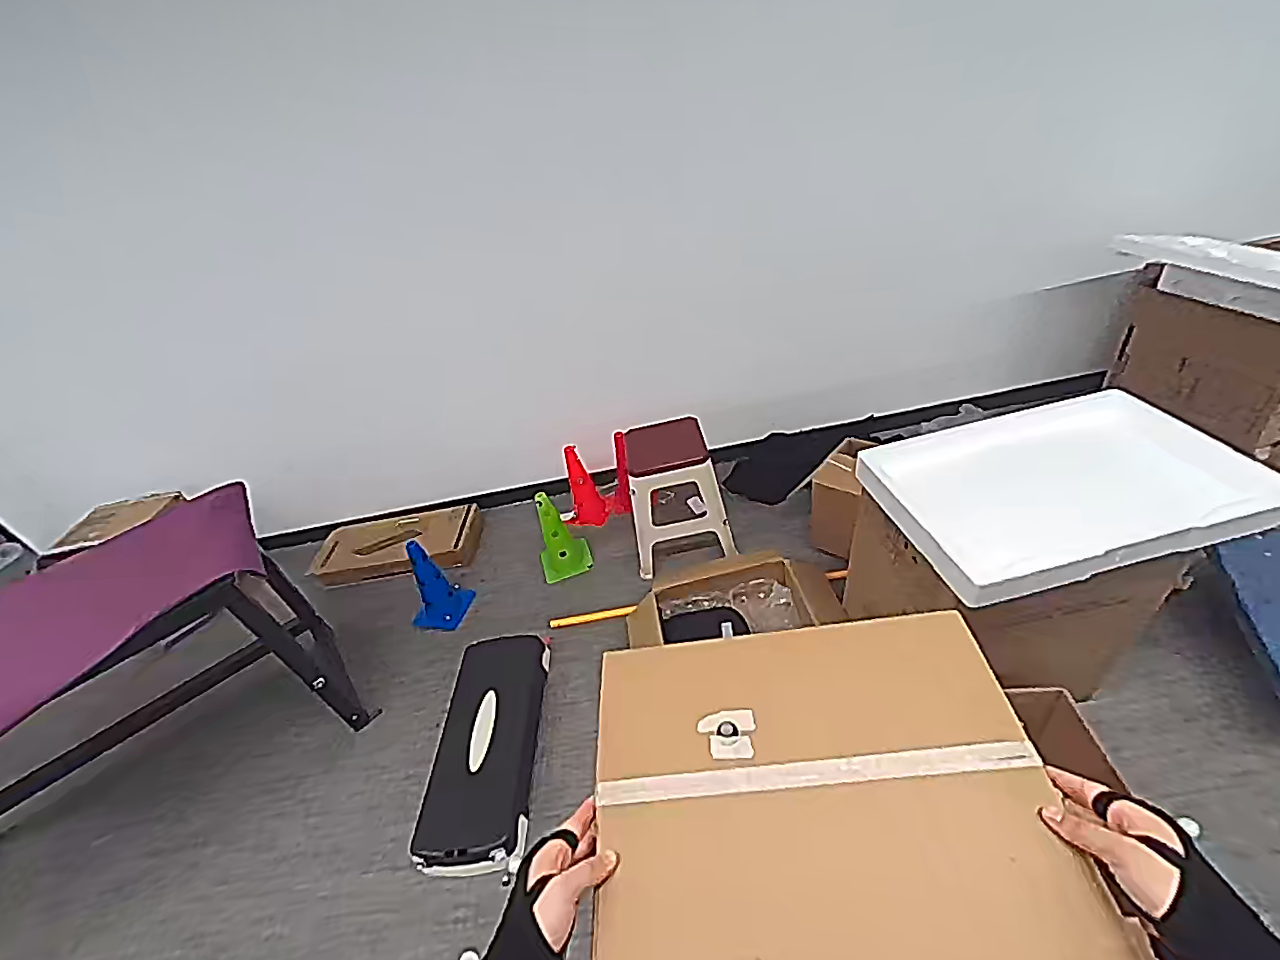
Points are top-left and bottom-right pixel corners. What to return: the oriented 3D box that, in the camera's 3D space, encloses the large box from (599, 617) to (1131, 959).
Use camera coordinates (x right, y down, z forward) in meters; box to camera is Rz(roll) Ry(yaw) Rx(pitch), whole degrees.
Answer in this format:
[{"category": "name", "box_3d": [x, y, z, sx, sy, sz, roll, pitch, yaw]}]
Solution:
[{"category": "large box", "box_3d": [0.189, 0.398, 0.613, 0.408, 0.320, 0.320, -10, 40, 7]}]
